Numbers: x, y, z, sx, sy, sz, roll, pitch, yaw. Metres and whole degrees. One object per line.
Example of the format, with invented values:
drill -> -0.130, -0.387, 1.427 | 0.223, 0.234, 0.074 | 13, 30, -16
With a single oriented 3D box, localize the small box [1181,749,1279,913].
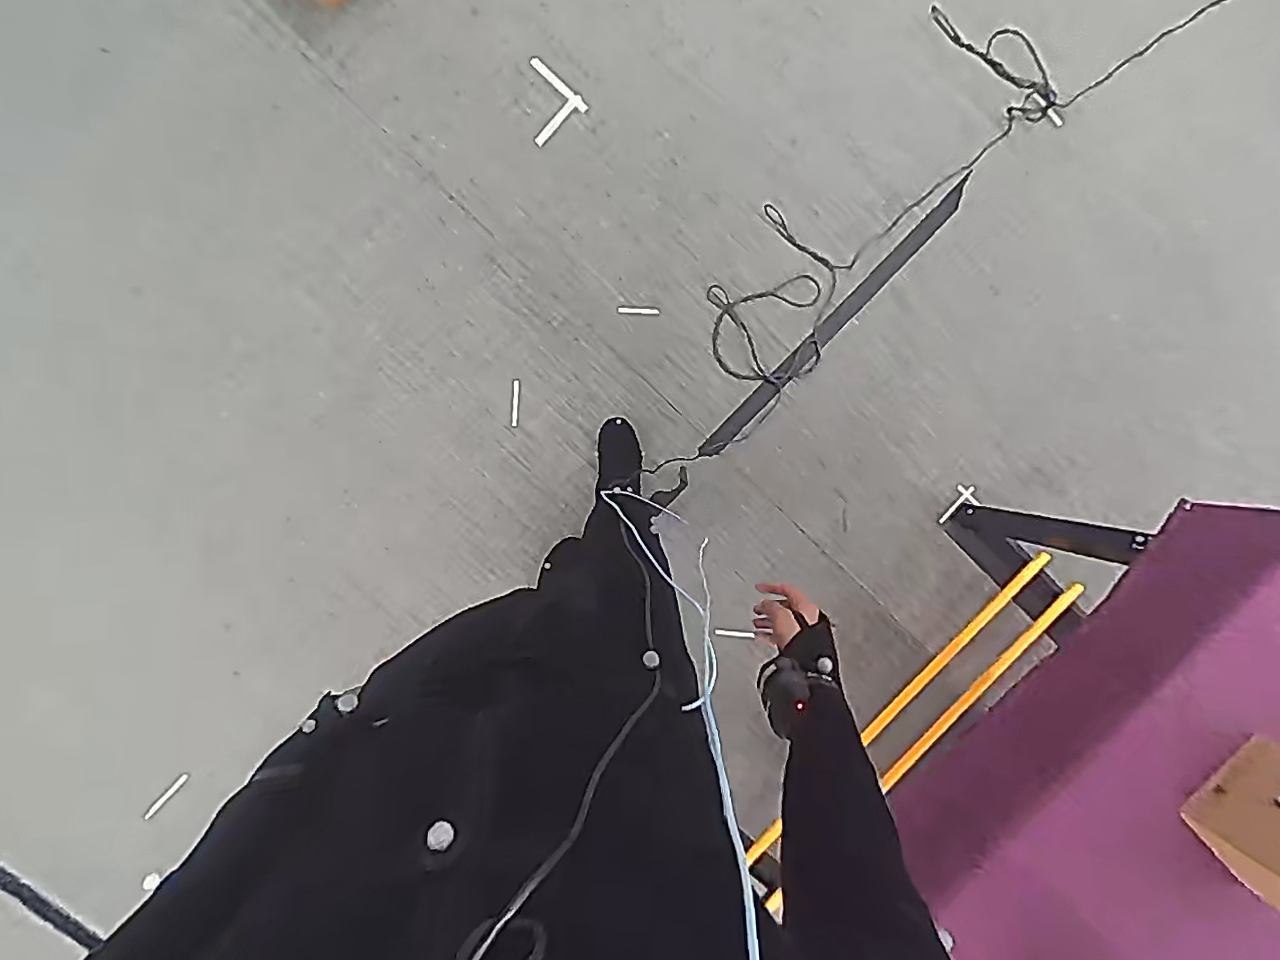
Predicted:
small box -> 0.896, 0.494, 0.715 | 0.168, 0.176, 0.179 | -43, 96, 0
